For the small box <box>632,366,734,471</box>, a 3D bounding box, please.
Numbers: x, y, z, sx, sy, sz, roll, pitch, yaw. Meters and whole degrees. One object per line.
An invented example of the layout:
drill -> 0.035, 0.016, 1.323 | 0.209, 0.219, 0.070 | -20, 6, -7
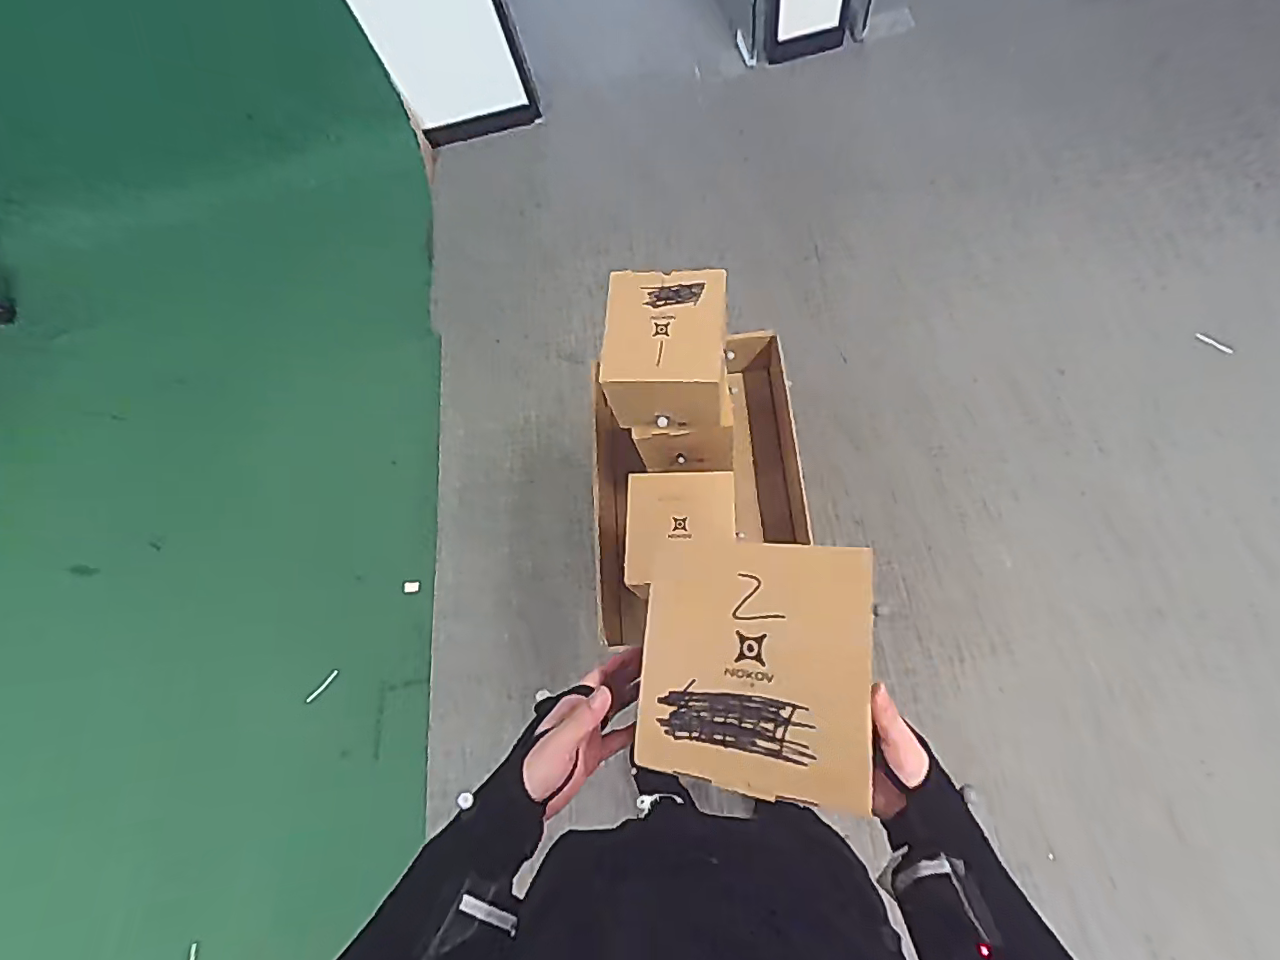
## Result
small box -> 0.074, -0.131, 0.969 | 0.168, 0.176, 0.179 | -7, 71, 7

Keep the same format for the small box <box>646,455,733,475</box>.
small box -> 0.100, -0.082, 1.121 | 0.168, 0.176, 0.179 | -7, 71, 8

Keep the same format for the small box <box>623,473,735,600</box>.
small box -> 0.072, 0.098, 0.884 | 0.168, 0.176, 0.179 | -1, 69, 9

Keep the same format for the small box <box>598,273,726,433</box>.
small box -> 0.043, -0.186, 0.818 | 0.168, 0.176, 0.179 | 2, 73, 10
